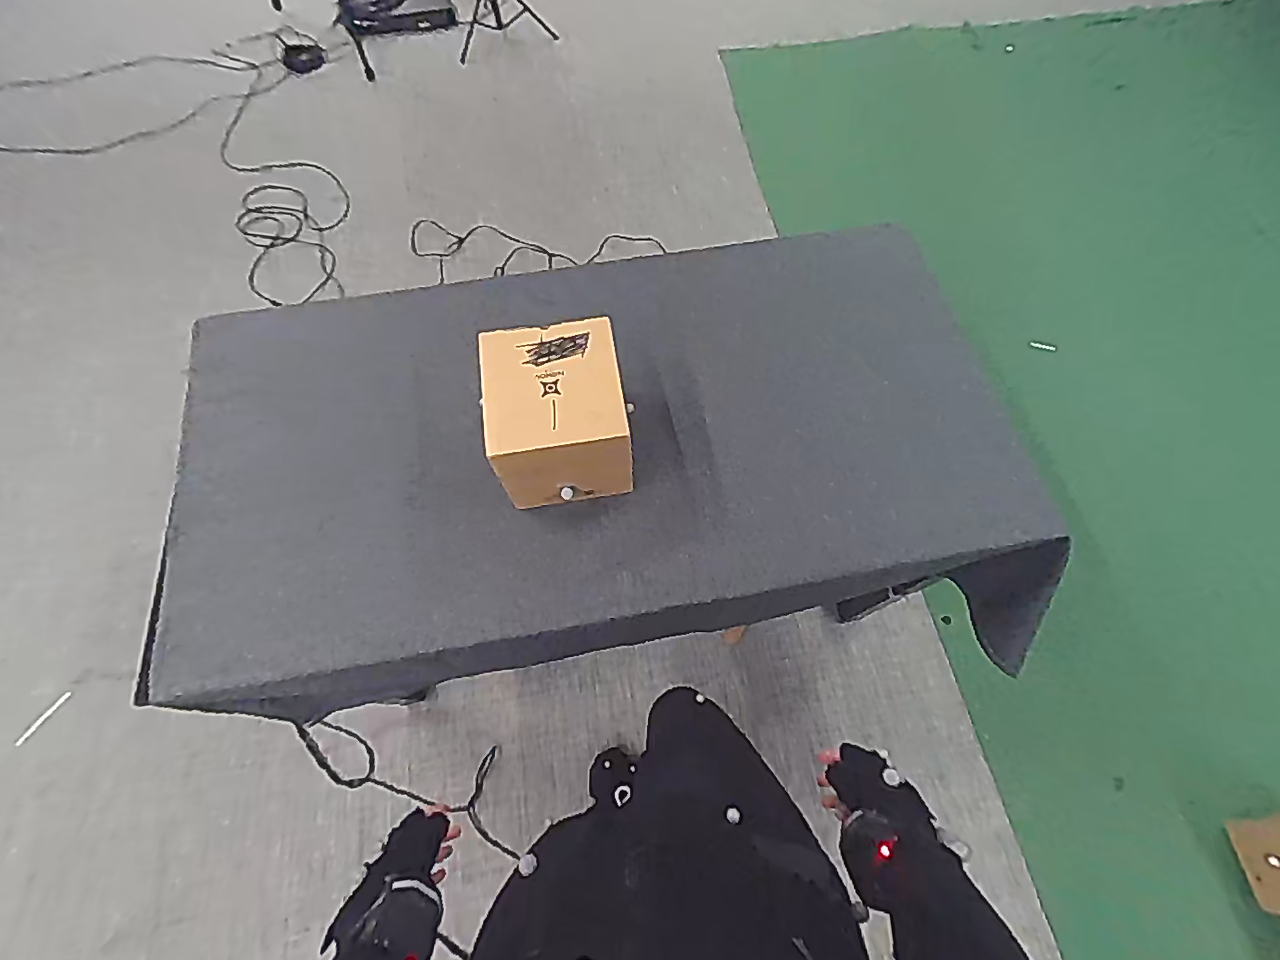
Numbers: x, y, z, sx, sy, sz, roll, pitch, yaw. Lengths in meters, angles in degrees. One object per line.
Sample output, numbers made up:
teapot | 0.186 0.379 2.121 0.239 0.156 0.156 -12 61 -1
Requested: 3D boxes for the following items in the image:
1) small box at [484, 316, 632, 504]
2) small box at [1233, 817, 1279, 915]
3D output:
small box | -0.103 -0.086 0.719 0.168 0.176 0.179 -9 66 -3
small box | 1.389 0.796 1.100 0.179 0.176 0.168 -4 65 -2
